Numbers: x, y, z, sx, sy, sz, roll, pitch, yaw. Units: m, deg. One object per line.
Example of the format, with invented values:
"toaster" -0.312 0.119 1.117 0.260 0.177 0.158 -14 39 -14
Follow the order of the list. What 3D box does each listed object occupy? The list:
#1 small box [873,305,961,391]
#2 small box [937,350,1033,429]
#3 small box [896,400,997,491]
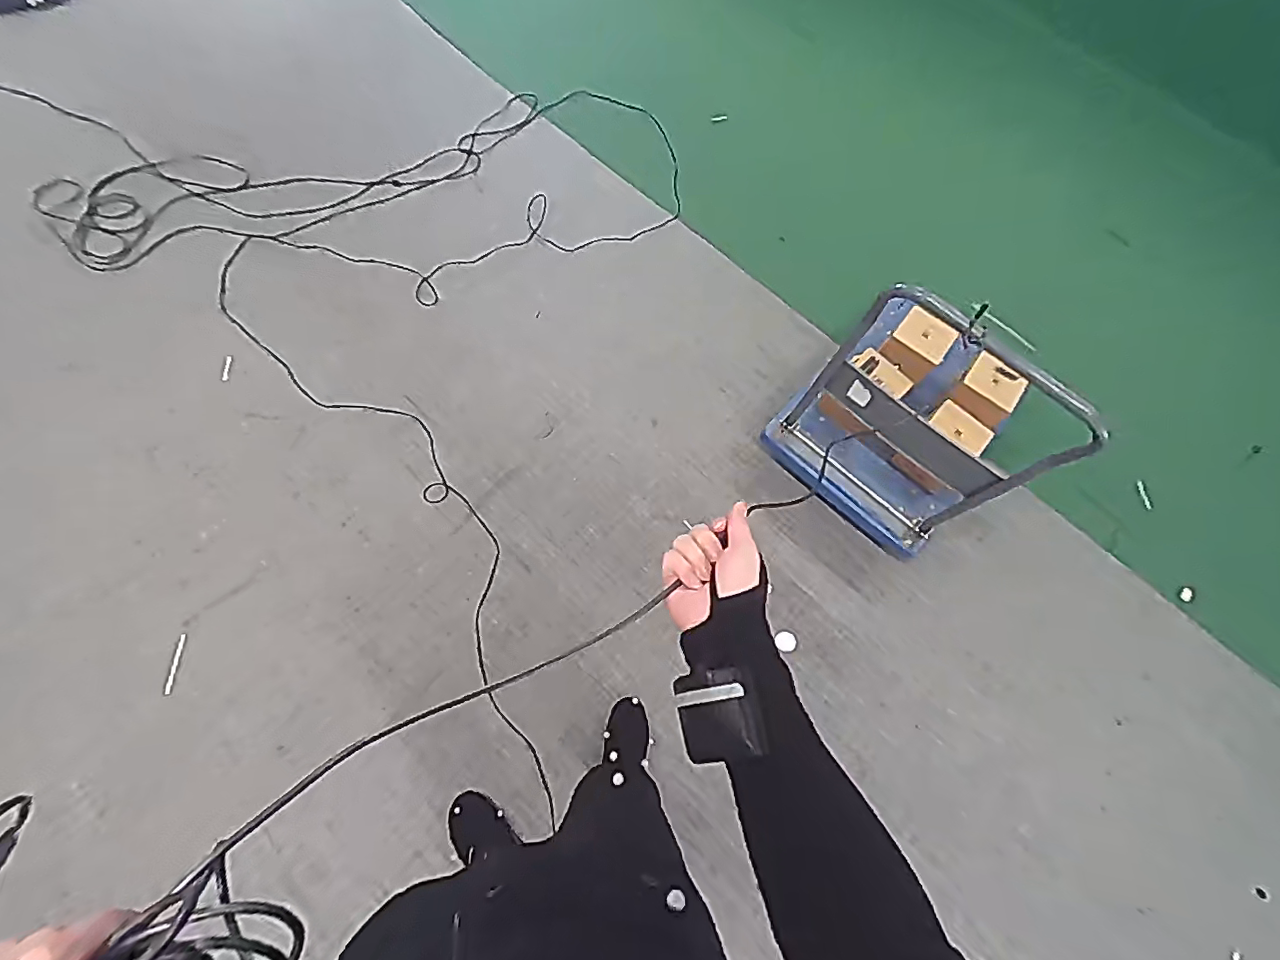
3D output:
"small box" 0.891 -0.422 1.759 0.168 0.176 0.179 39 66 9
"small box" 1.086 -0.269 1.716 0.168 0.176 0.179 38 67 11
"small box" 0.905 -0.098 1.612 0.168 0.176 0.179 43 68 12
